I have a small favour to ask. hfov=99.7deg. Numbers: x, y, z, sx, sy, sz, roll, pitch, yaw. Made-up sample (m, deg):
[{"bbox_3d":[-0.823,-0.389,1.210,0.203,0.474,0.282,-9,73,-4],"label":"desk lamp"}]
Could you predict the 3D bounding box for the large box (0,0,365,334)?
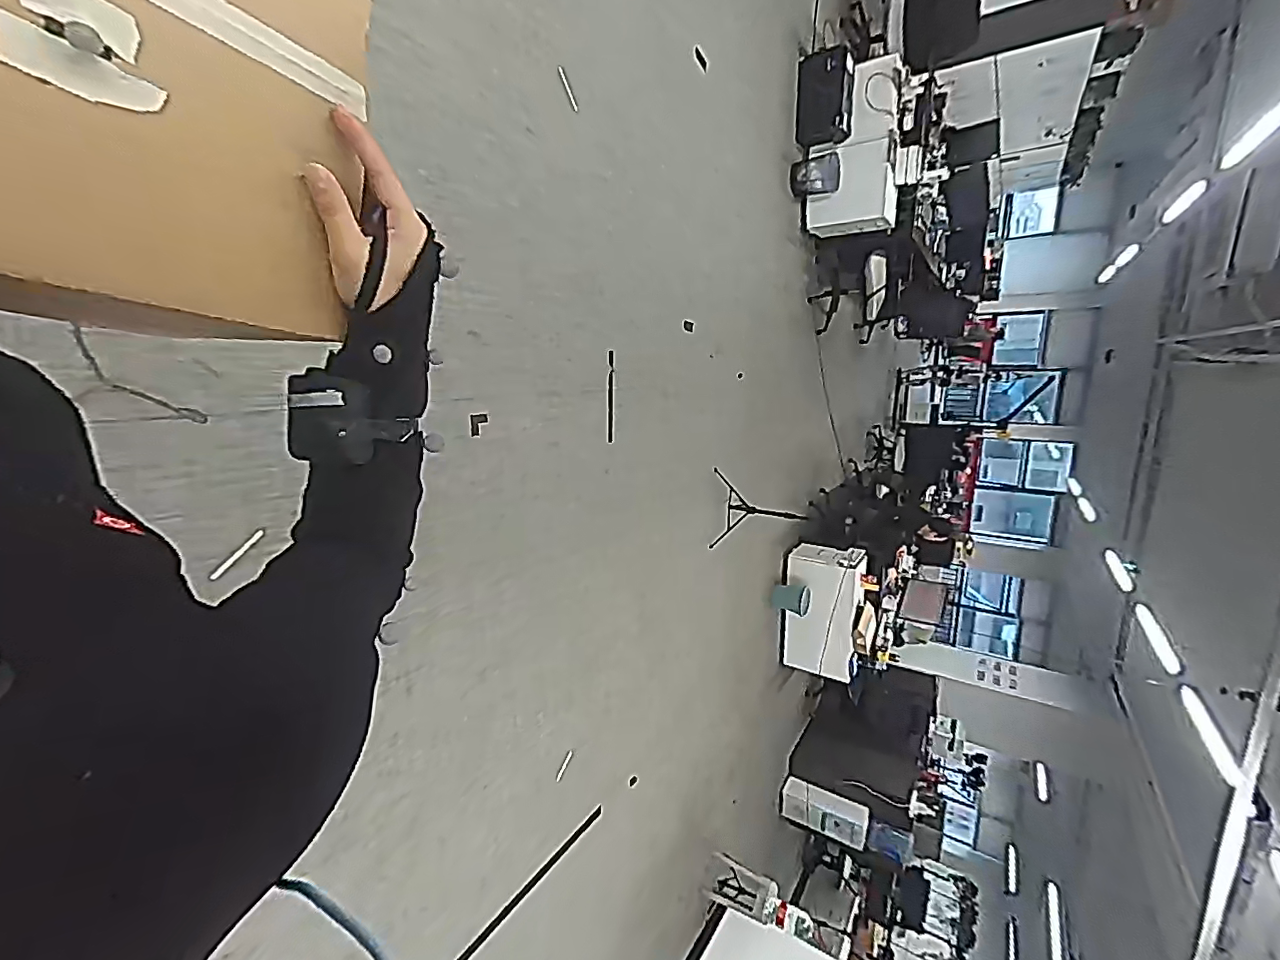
[{"bbox_3d":[-0.428,-0.268,0.283,0.408,0.320,0.320,-3,102,-58],"label":"large box"}]
